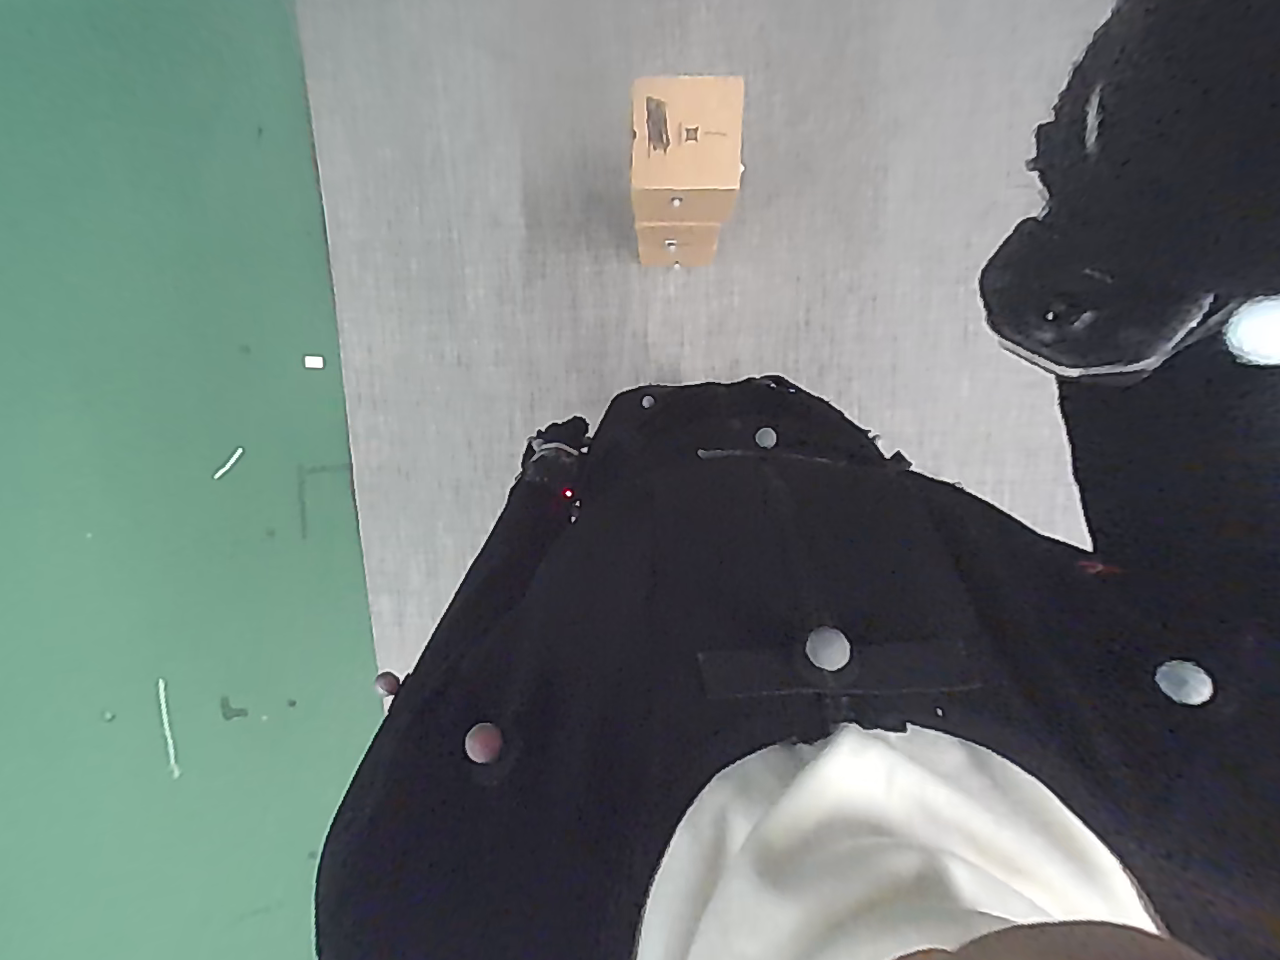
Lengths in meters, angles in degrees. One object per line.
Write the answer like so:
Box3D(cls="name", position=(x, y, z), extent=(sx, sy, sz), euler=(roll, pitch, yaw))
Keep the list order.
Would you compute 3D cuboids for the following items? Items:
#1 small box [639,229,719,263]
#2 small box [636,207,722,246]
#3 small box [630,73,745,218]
Box3D(cls="small box", position=(0.090, -0.610, 1.255), extent=(0.179, 0.176, 0.168), euler=(2, 99, 2))
Box3D(cls="small box", position=(0.081, -0.590, 1.095), extent=(0.168, 0.176, 0.179), euler=(1, 100, 4))
Box3D(cls="small box", position=(0.079, -0.564, 0.932), extent=(0.179, 0.176, 0.168), euler=(2, 99, 3))
